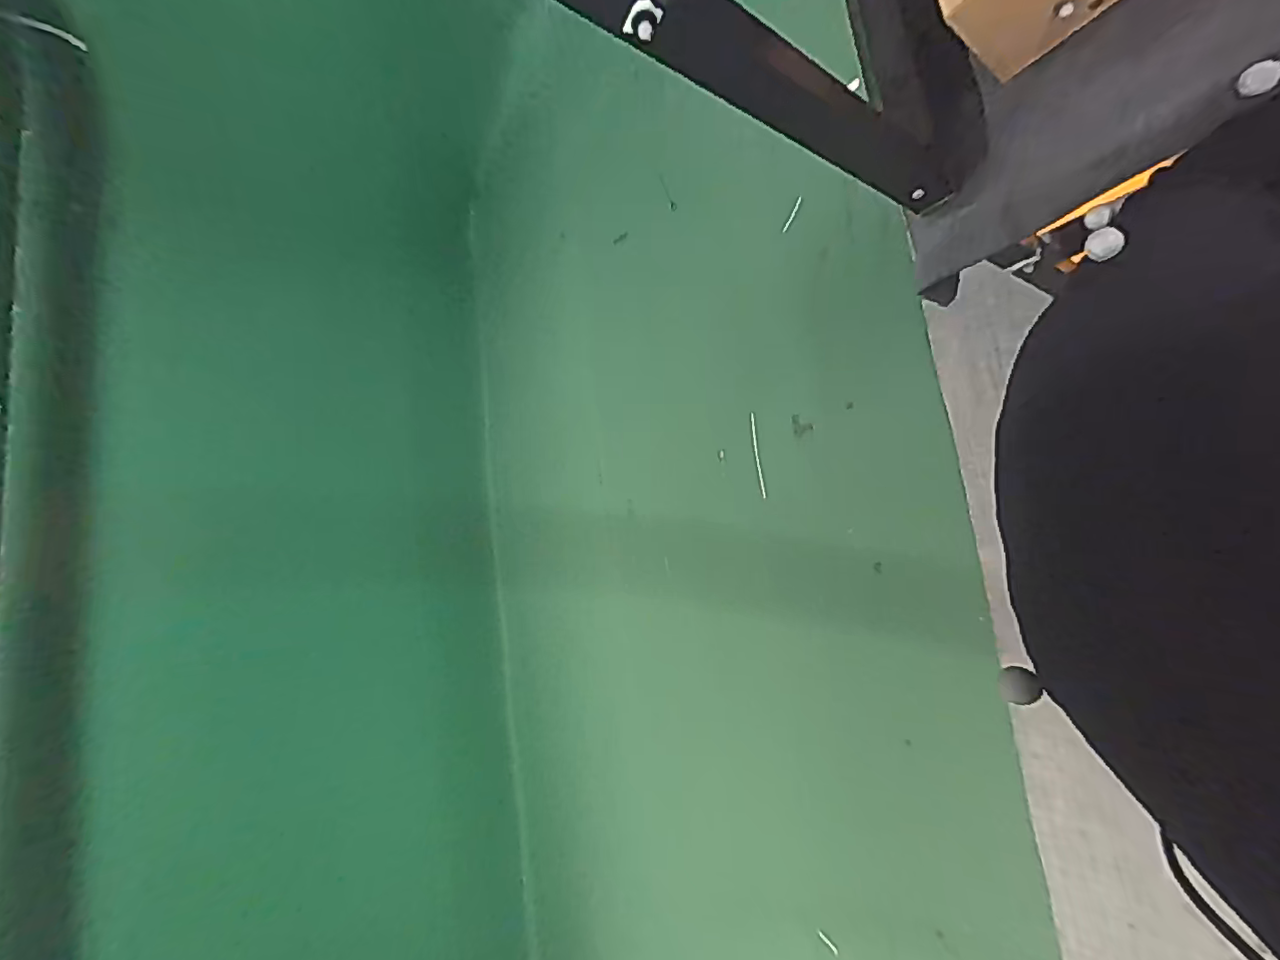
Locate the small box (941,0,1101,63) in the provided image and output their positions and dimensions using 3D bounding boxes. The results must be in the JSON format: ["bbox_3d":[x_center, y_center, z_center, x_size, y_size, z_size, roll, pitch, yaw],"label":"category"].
[{"bbox_3d":[0.432,-0.620,0.593,0.168,0.176,0.179,-22,74,51],"label":"small box"}]
